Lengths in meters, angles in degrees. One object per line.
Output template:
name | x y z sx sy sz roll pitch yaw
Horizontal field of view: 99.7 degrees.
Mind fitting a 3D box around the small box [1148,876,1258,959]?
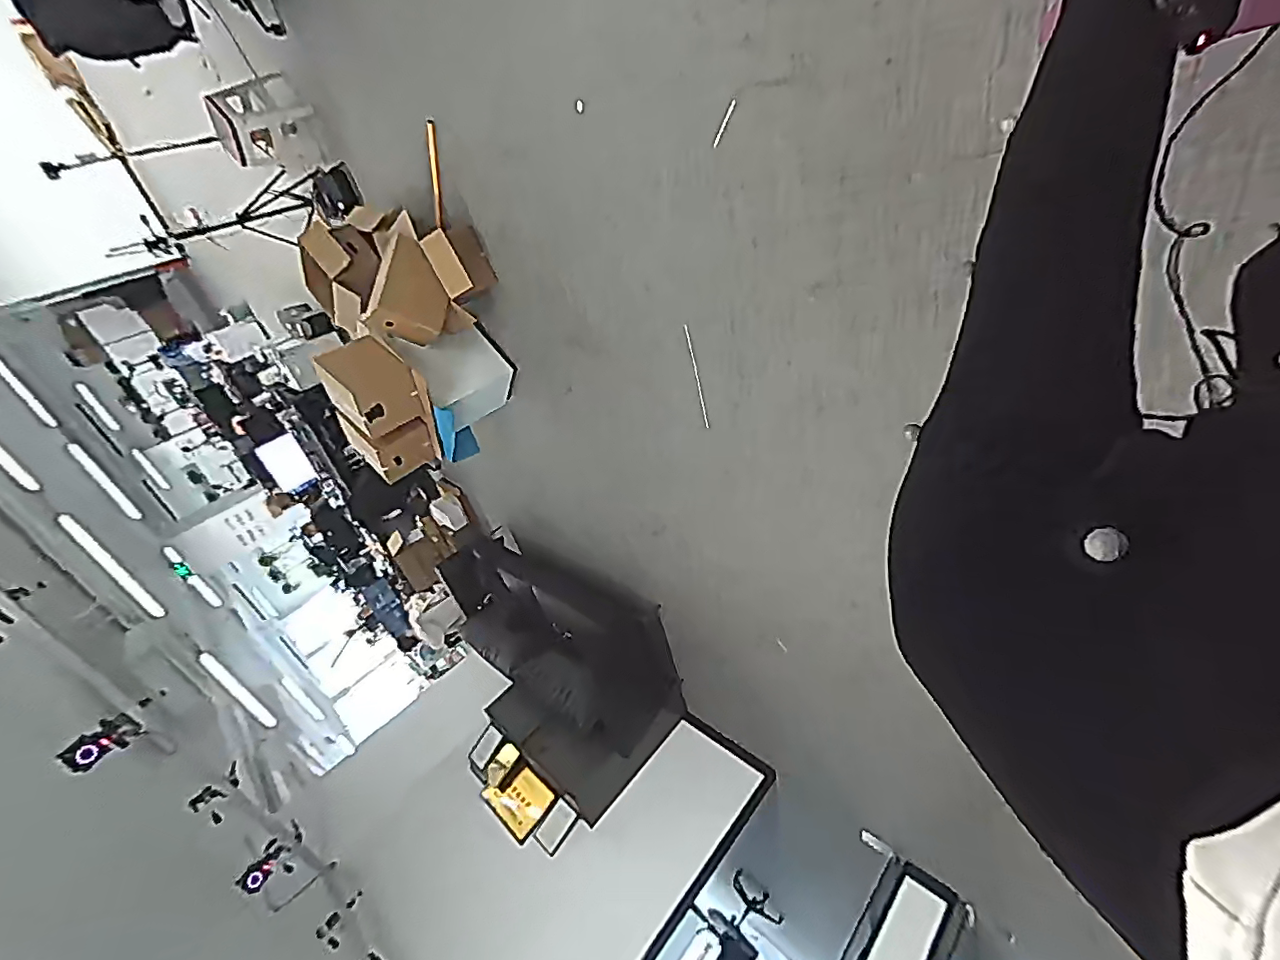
small box | 1.490 1.207 1.432 0.168 0.176 0.179 19 137 41

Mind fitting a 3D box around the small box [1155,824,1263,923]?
small box | 1.600 1.122 1.520 0.168 0.176 0.179 21 137 40
